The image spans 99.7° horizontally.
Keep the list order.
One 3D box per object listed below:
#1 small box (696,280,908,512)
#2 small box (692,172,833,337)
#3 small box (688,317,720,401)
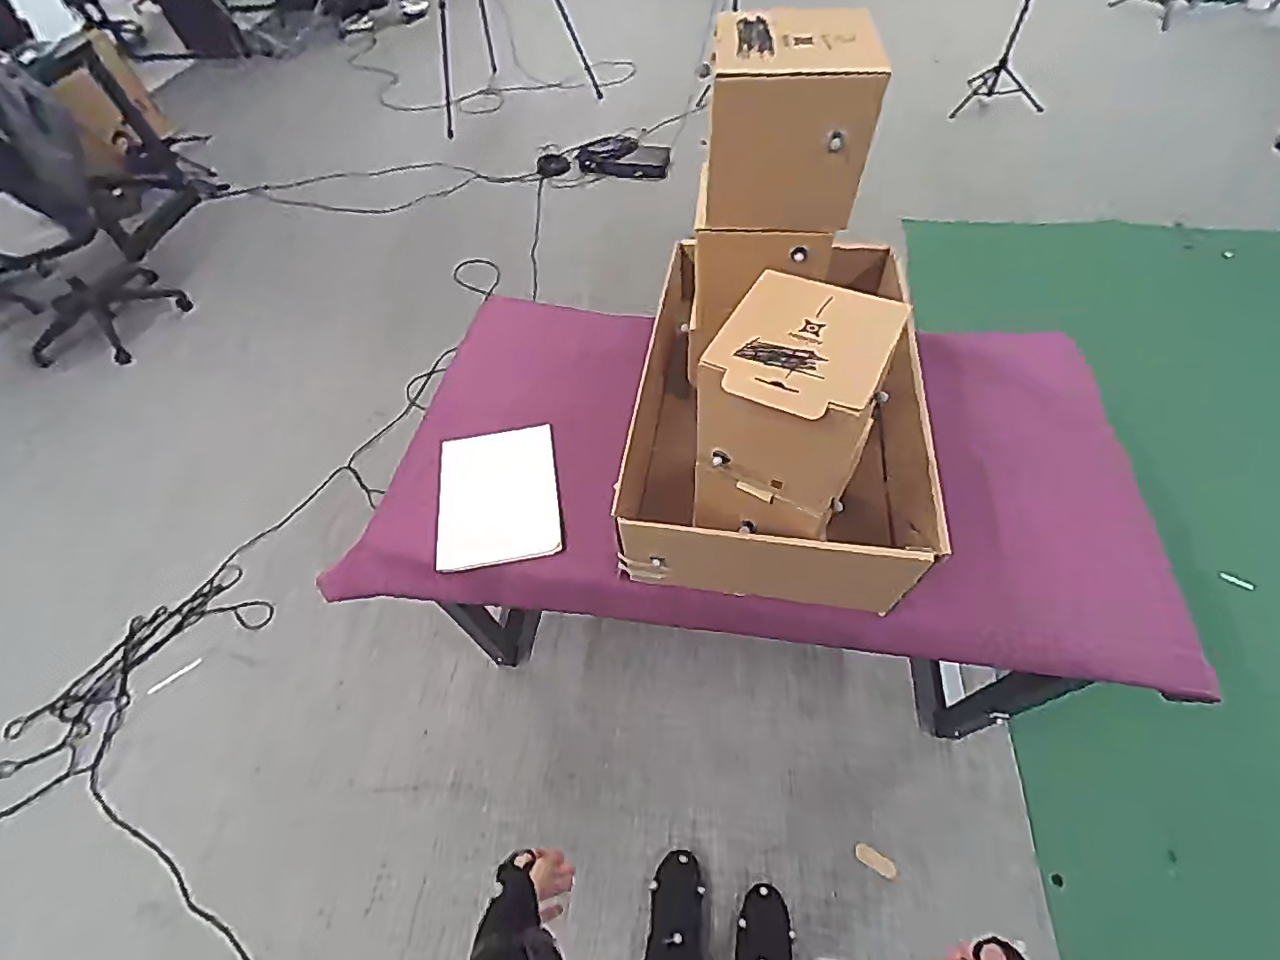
[{"bbox_3d":[0.176,-0.093,0.618,0.168,0.176,0.179,23,58,21],"label":"small box"},{"bbox_3d":[0.169,-0.321,0.785,0.179,0.176,0.168,4,57,7],"label":"small box"},{"bbox_3d":[0.175,-0.233,0.922,0.168,0.176,0.179,6,57,9],"label":"small box"}]
